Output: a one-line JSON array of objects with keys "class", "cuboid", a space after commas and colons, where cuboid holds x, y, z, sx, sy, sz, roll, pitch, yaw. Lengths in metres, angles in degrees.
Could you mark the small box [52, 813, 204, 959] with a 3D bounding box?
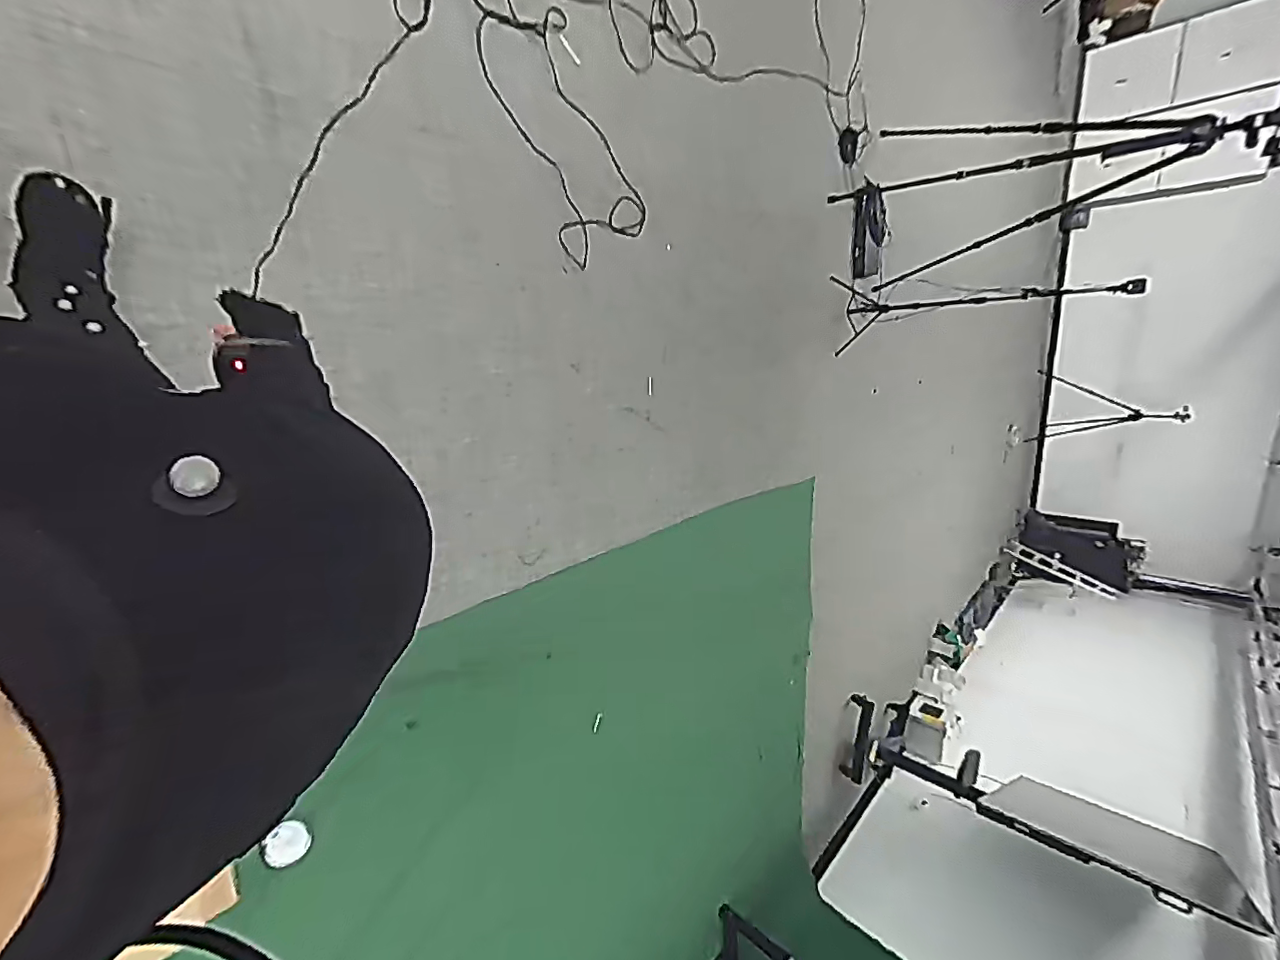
[{"class": "small box", "cuboid": [-0.920, 0.756, 0.974, 0.179, 0.176, 0.168, -11, 105, -47]}]
